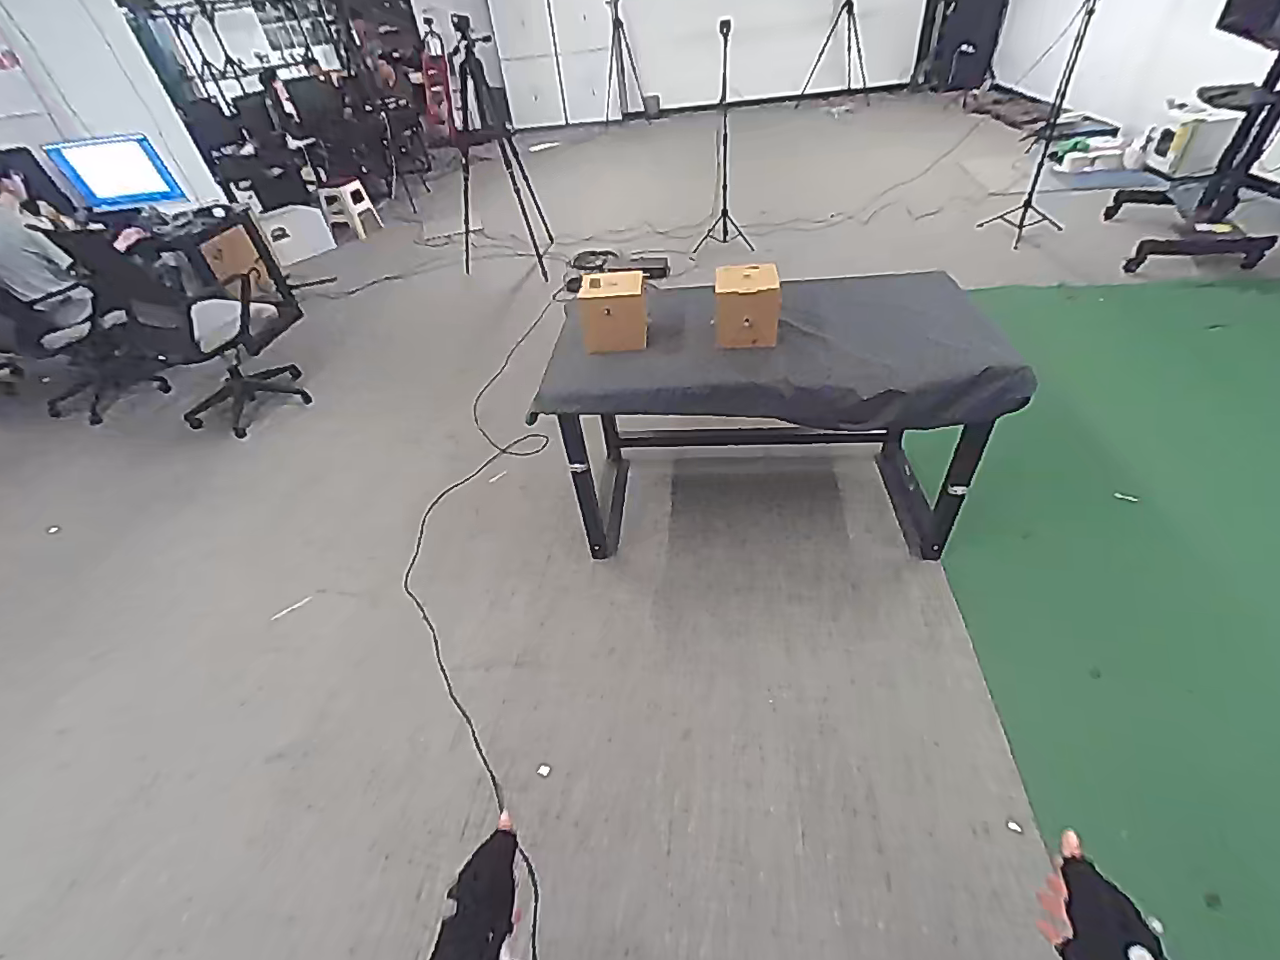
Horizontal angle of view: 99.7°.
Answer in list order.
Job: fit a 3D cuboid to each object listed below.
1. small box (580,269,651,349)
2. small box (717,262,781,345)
[{"bbox_3d":[-0.065,-0.492,1.565,0.179,0.176,0.168,-2,42,5],"label":"small box"},{"bbox_3d":[0.301,-0.487,1.508,0.168,0.176,0.179,1,43,9],"label":"small box"}]
